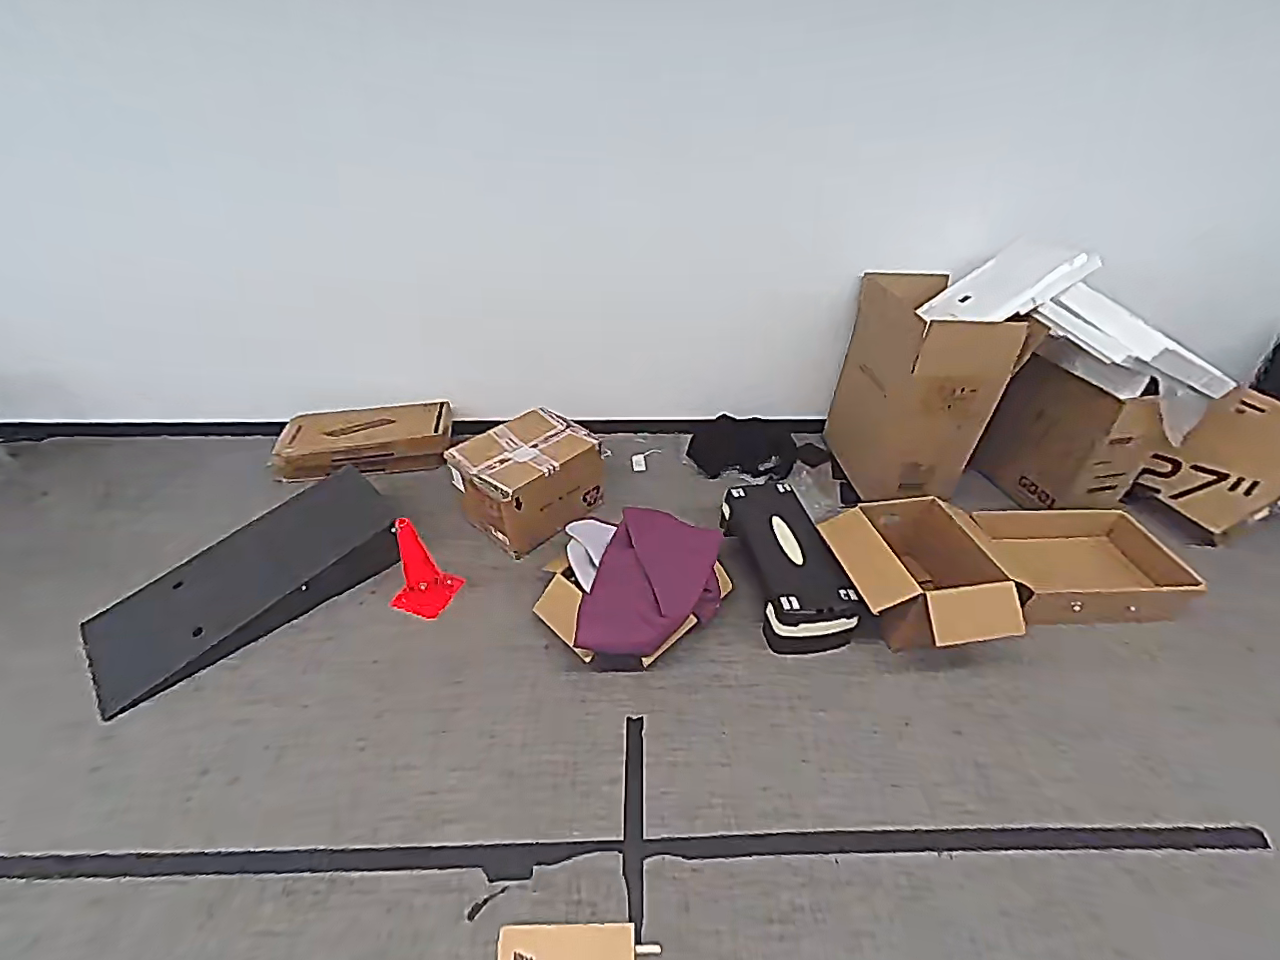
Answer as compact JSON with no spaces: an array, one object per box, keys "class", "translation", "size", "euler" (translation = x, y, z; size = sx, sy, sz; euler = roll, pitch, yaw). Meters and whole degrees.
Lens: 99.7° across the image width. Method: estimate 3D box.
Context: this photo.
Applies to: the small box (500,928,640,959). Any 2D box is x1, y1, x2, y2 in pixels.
[{"class":"small box","translation":[-0.087,0.692,0.678],"size":[0.179,0.176,0.168],"euler":[0,37,-1]}]
